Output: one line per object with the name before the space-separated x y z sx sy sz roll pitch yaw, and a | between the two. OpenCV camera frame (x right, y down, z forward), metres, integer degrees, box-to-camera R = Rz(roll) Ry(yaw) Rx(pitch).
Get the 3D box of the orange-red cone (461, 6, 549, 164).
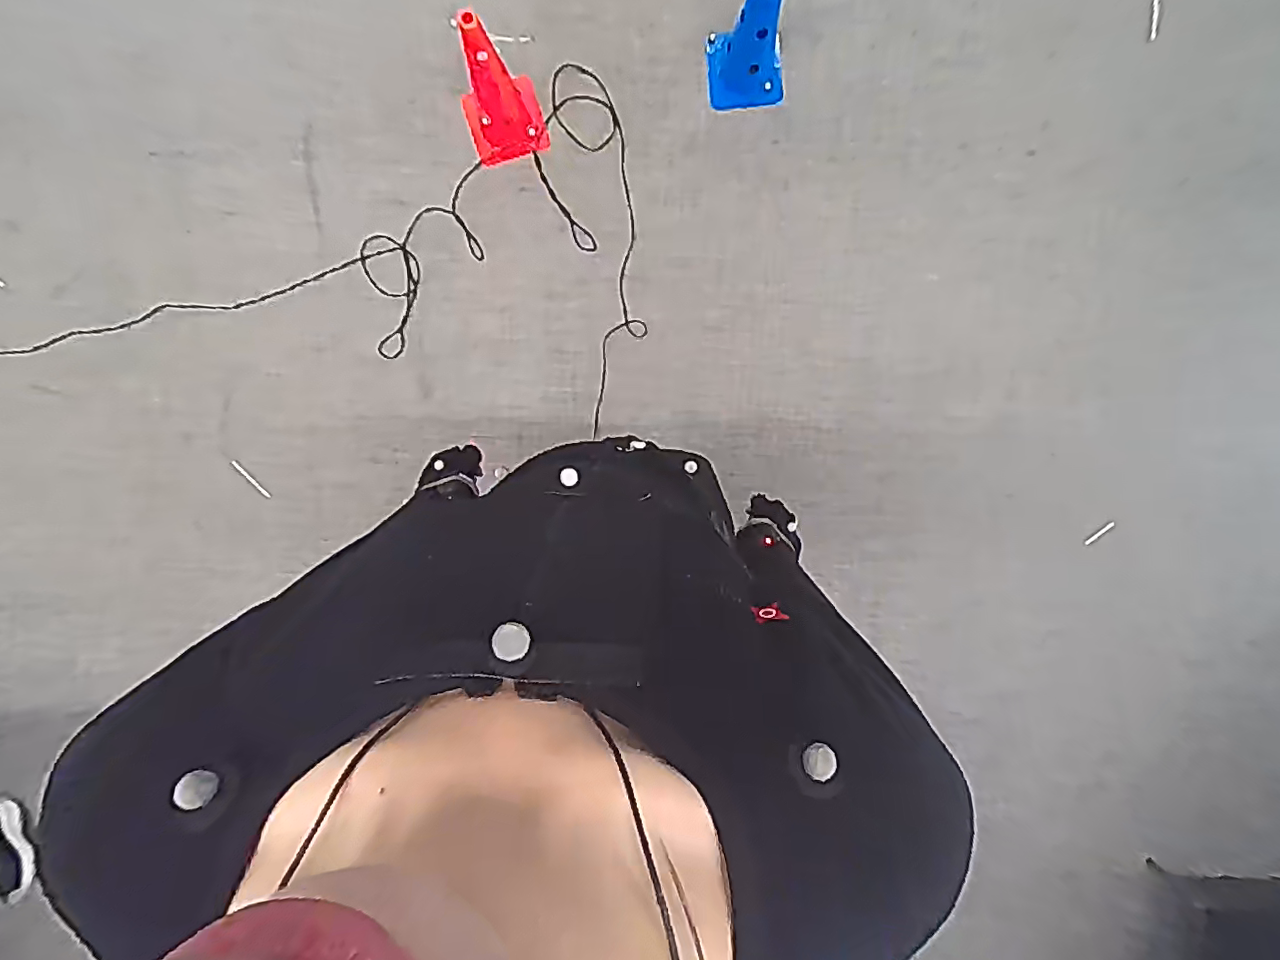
orange-red cone | -0.355 -0.960 1.283 0.198 0.360 0.199 -17 91 -1
